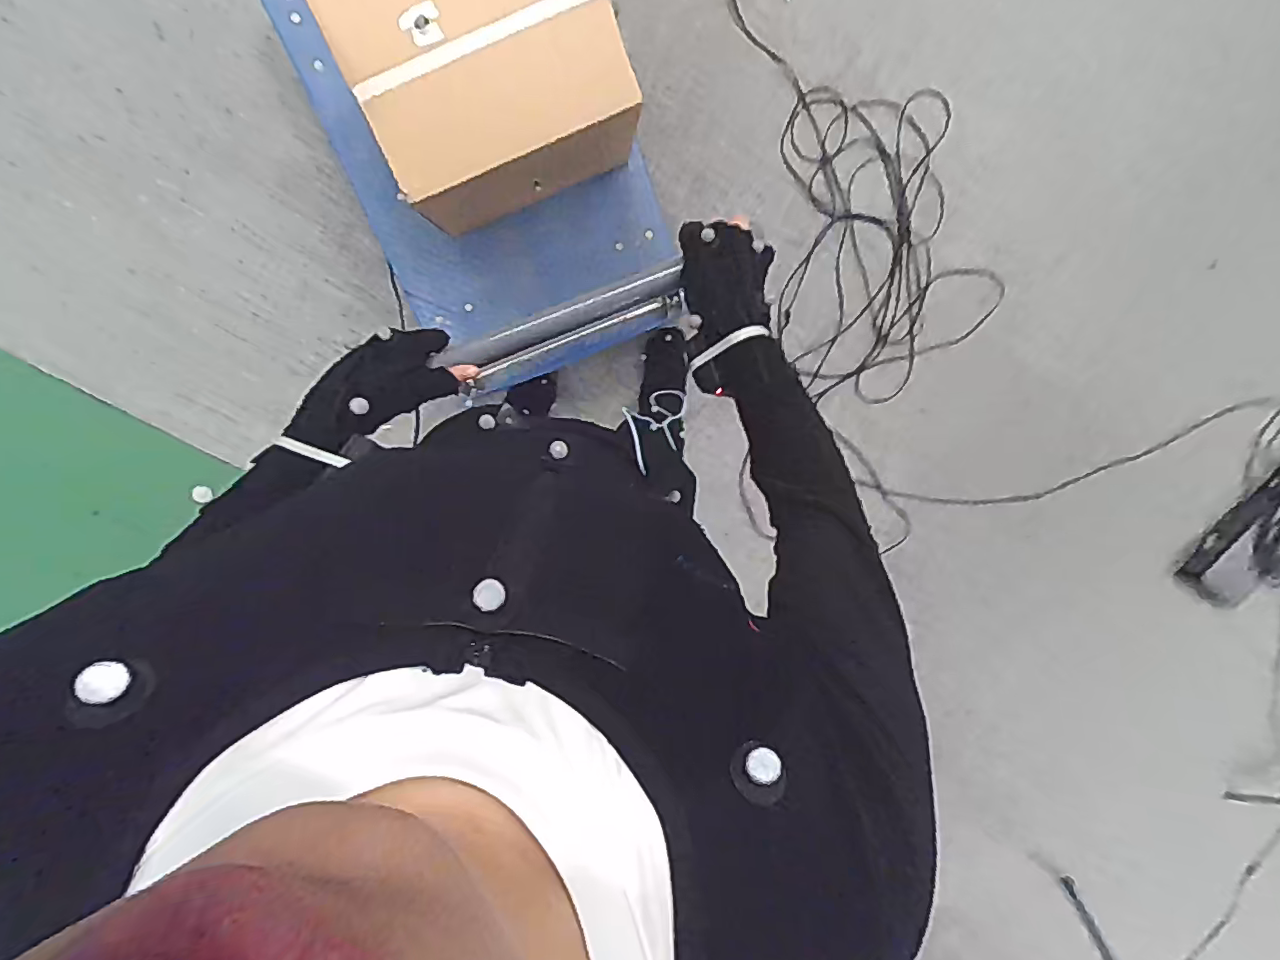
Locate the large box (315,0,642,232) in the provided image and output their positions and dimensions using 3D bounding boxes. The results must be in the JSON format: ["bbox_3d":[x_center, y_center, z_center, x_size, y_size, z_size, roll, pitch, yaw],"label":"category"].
[{"bbox_3d":[-0.246,-0.692,0.957,0.408,0.320,0.320,-23,105,2],"label":"large box"}]
